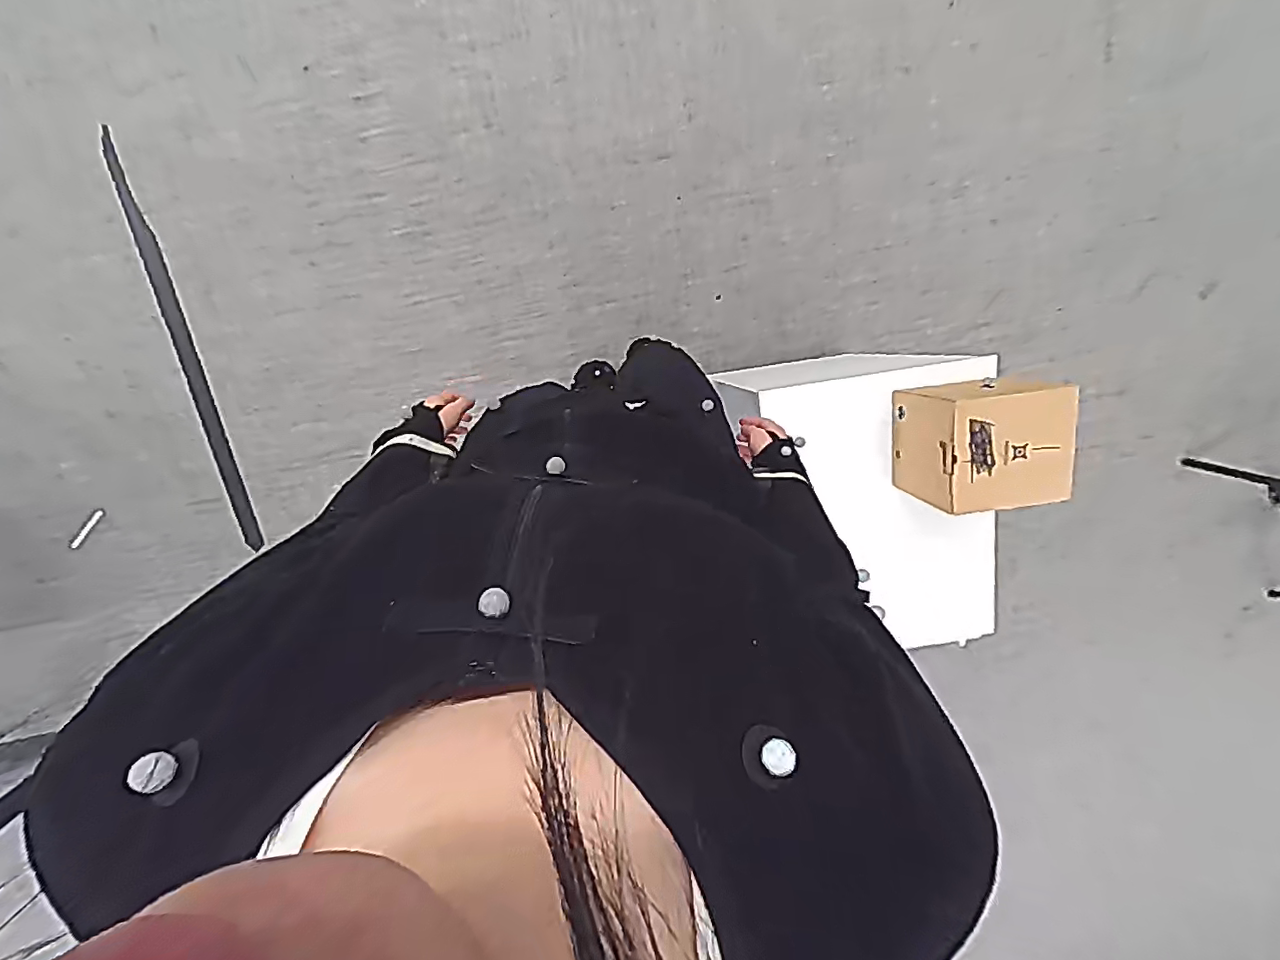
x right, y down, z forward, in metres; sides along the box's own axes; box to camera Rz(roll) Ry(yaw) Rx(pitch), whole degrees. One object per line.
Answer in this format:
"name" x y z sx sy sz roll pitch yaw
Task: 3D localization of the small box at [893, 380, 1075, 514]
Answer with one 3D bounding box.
"small box" 0.507 -0.058 0.825 0.179 0.176 0.168 -7 105 -2
